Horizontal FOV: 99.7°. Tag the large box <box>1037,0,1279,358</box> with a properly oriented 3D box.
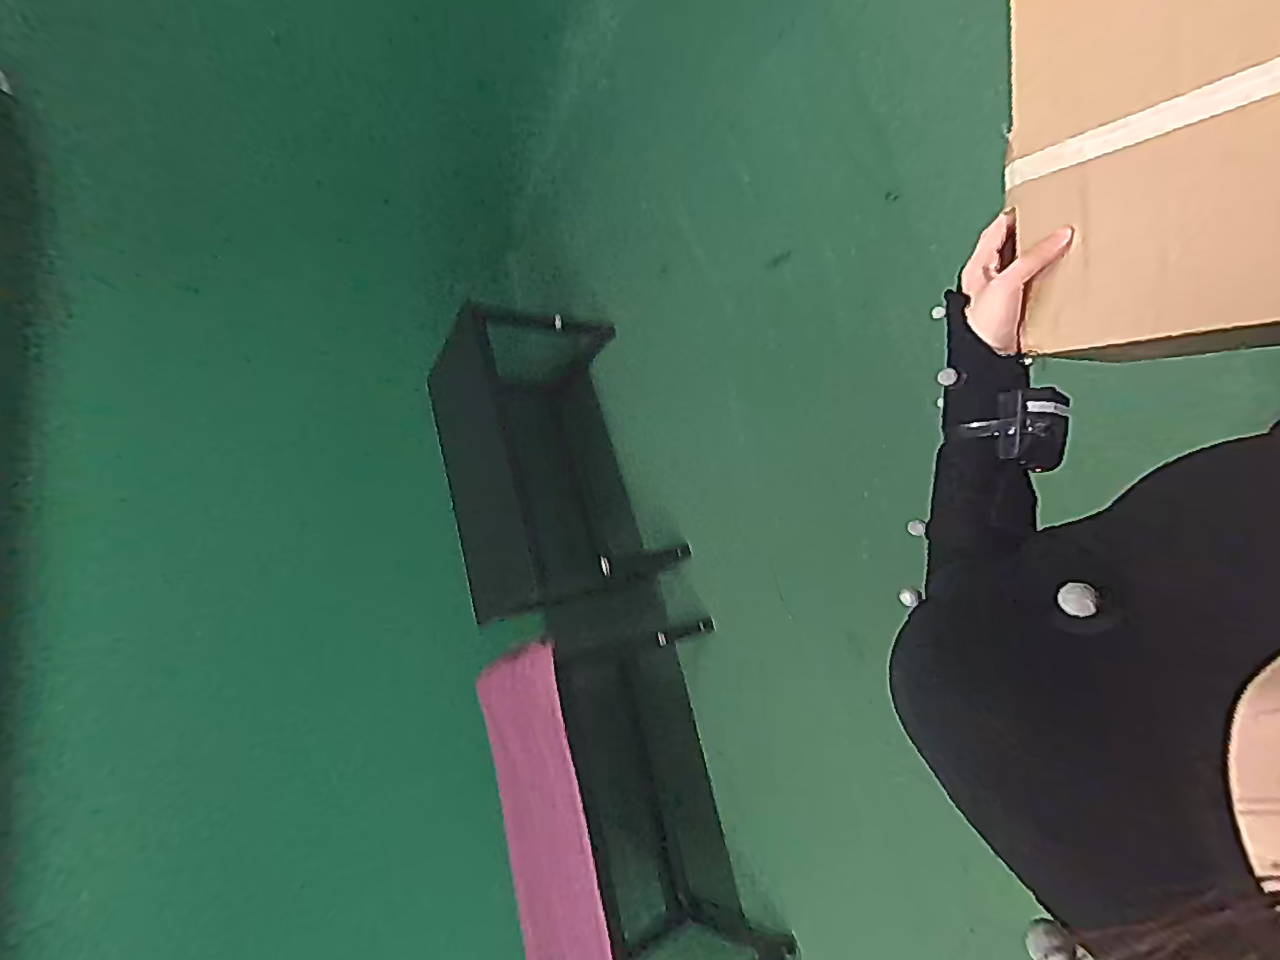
[{"bbox_3d":[0.574,-0.279,0.394,0.408,0.320,0.320,3,99,51],"label":"large box"}]
